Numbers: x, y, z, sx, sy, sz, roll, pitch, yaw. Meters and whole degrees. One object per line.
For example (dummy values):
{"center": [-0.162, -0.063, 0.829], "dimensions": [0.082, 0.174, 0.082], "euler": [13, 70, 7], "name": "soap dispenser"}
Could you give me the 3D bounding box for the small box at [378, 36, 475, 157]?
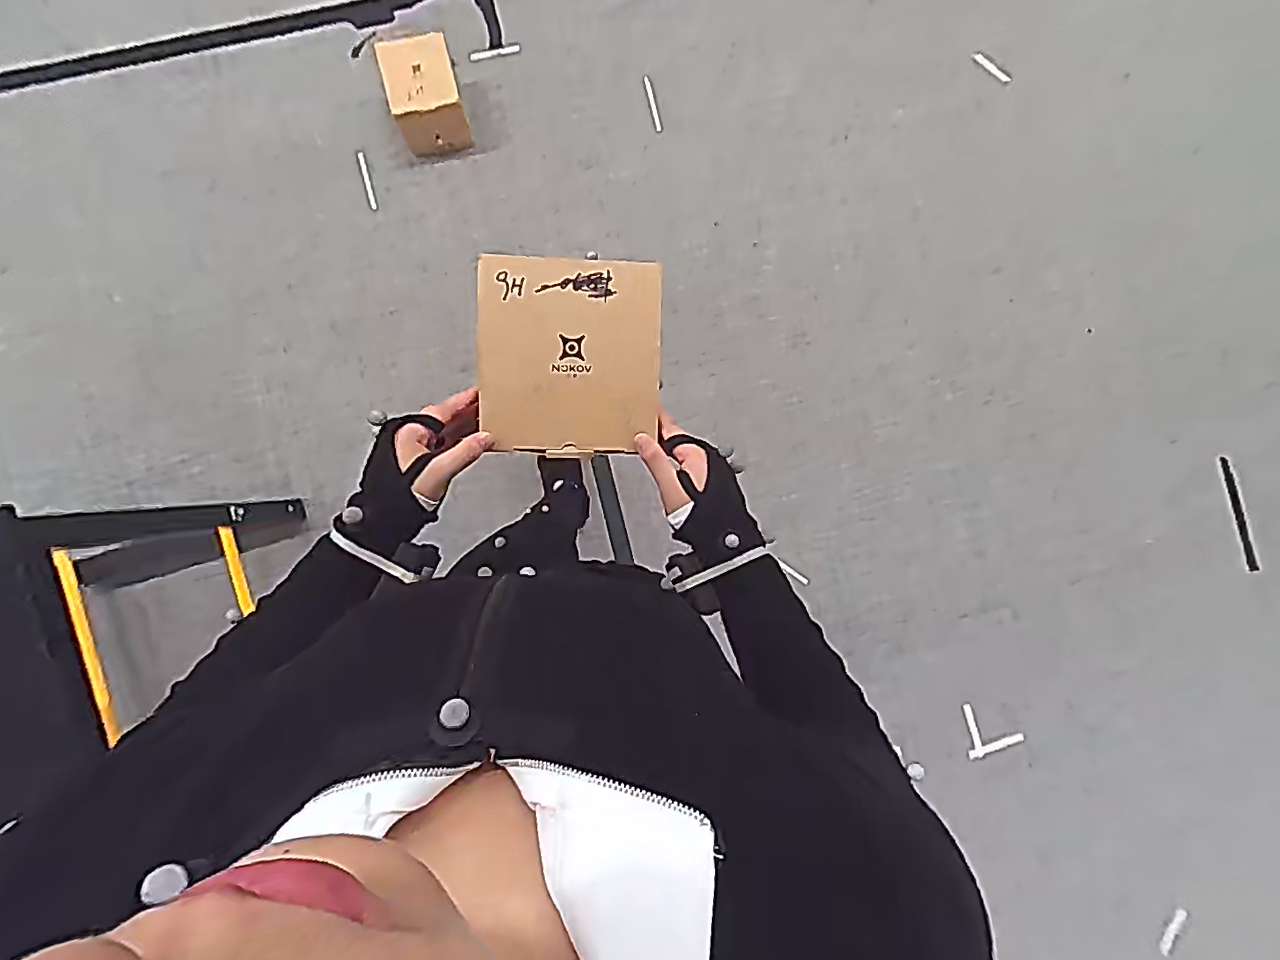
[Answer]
{"center": [-0.533, -0.961, 1.368], "dimensions": [0.168, 0.176, 0.179], "euler": [-14, 91, -4], "name": "small box"}
